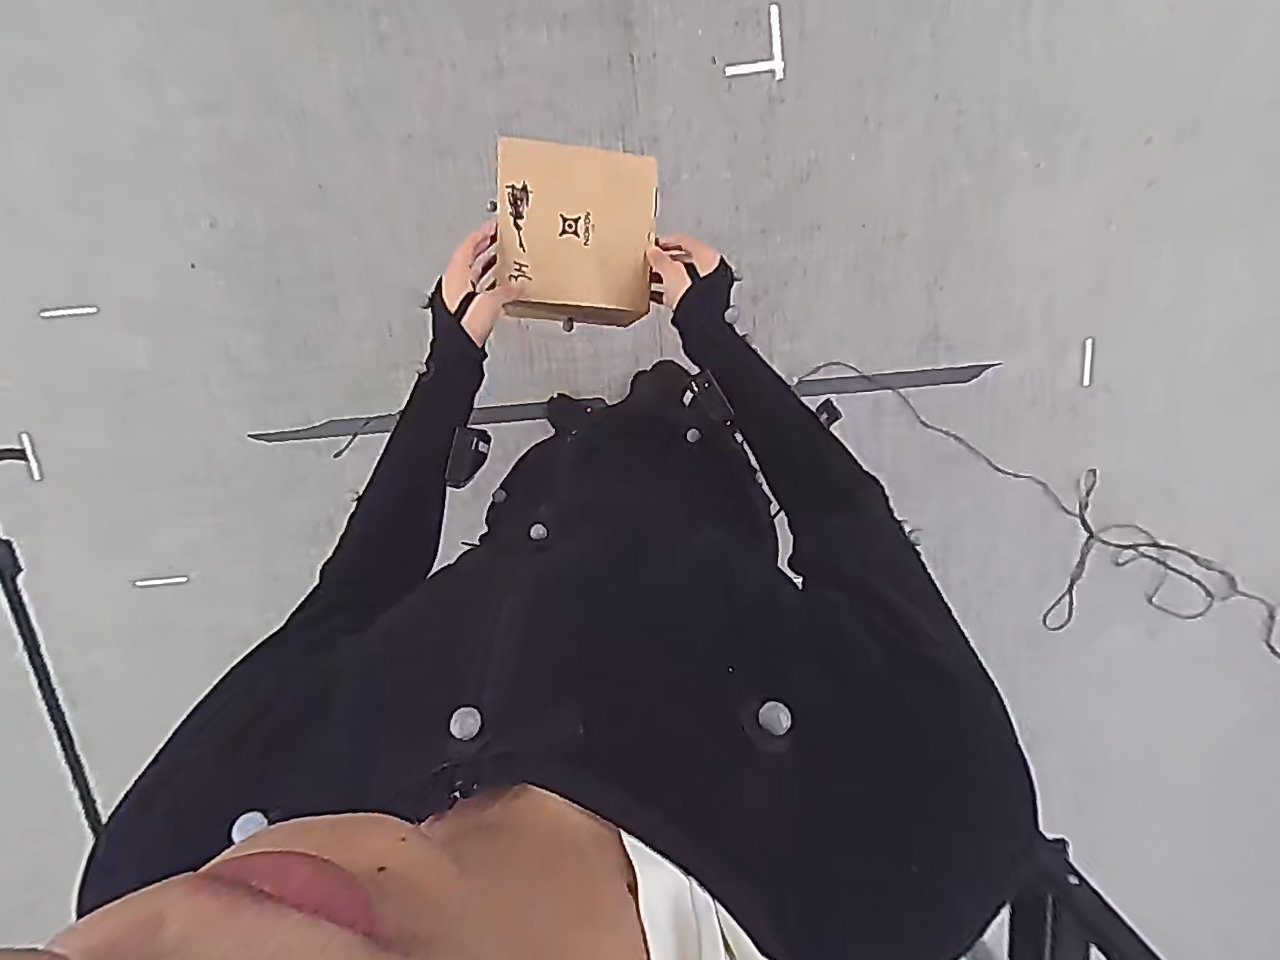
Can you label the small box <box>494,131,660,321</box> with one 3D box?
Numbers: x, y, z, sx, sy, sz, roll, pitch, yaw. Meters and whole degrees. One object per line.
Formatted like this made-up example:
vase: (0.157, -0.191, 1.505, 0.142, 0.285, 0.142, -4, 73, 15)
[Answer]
small box: (-0.085, -0.294, 0.668, 0.179, 0.176, 0.168, 2, 100, -12)
